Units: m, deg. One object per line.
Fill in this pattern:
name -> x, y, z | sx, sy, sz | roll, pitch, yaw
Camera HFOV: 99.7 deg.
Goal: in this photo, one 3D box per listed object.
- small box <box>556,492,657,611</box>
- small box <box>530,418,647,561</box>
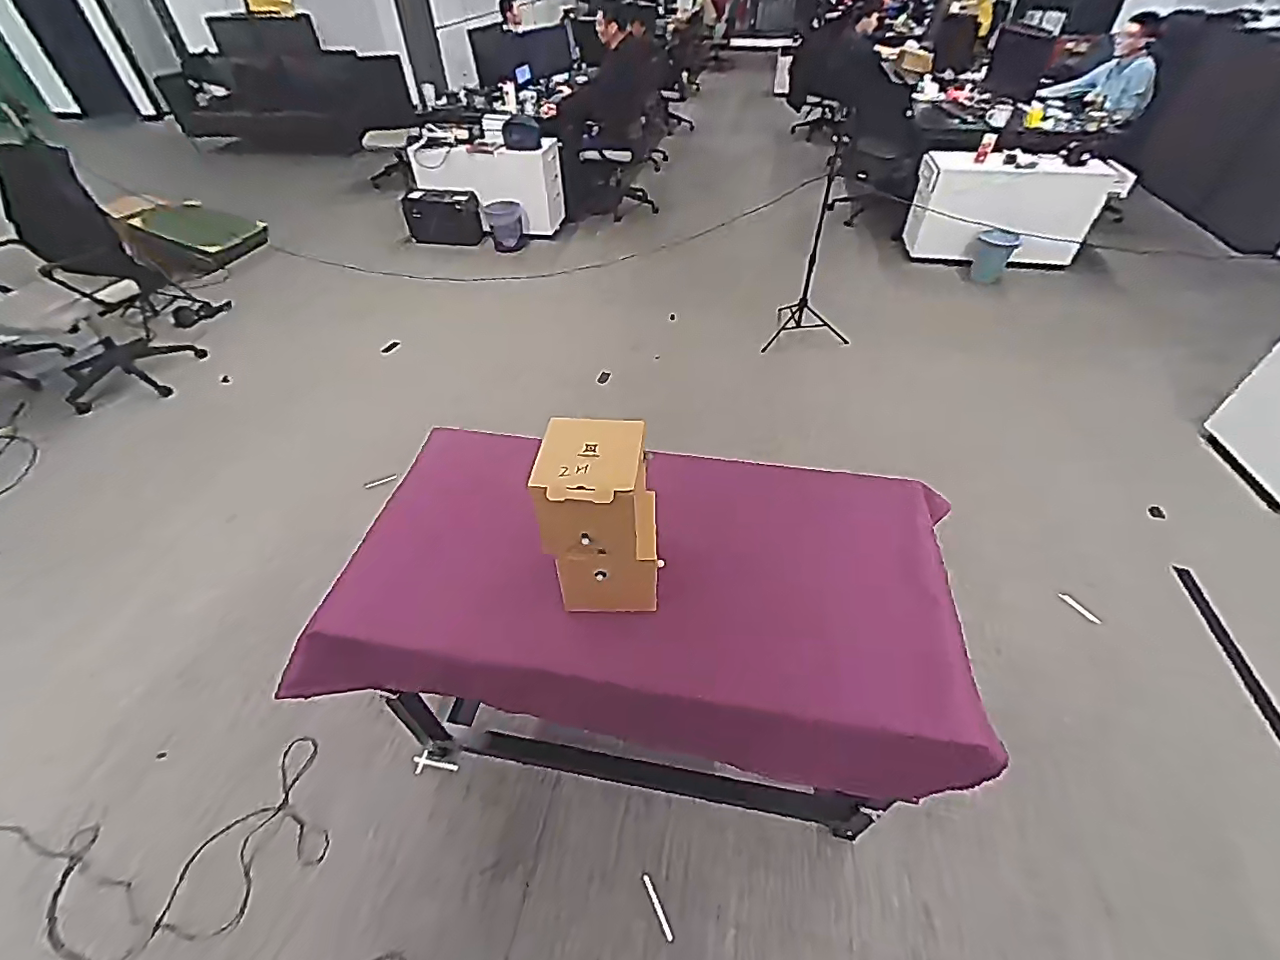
small box -> -0.057, 0.139, 1.040 | 0.179, 0.176, 0.168 | 0, 45, 0
small box -> -0.079, 0.015, 0.932 | 0.168, 0.176, 0.179 | 3, 45, 5
